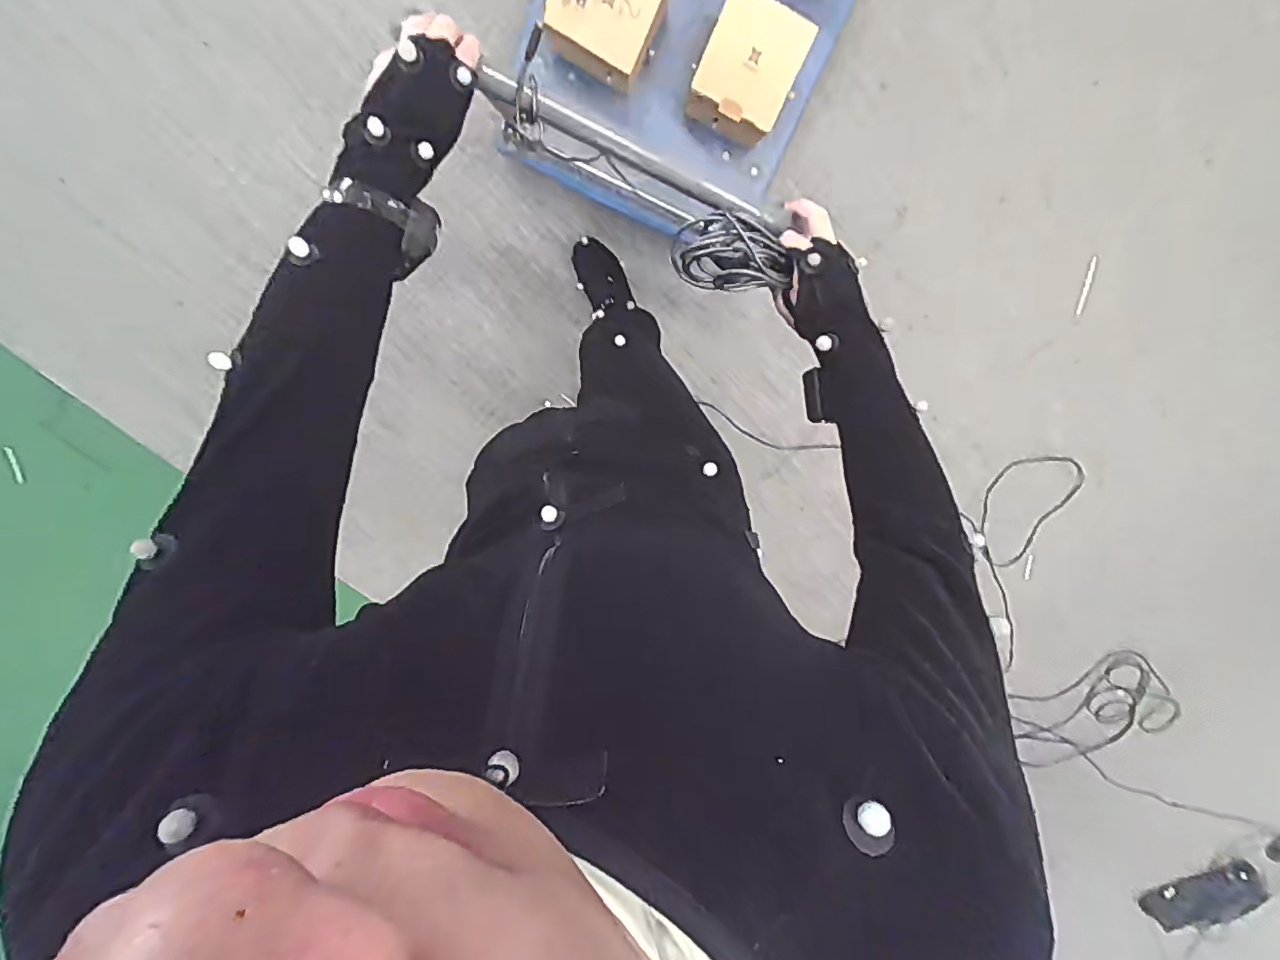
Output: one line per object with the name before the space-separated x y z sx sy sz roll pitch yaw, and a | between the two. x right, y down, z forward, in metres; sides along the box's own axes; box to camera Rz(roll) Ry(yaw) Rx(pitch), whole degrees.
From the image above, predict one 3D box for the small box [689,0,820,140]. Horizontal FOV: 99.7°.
small box | 0.202 -0.779 1.017 0.168 0.176 0.179 23 113 -9
